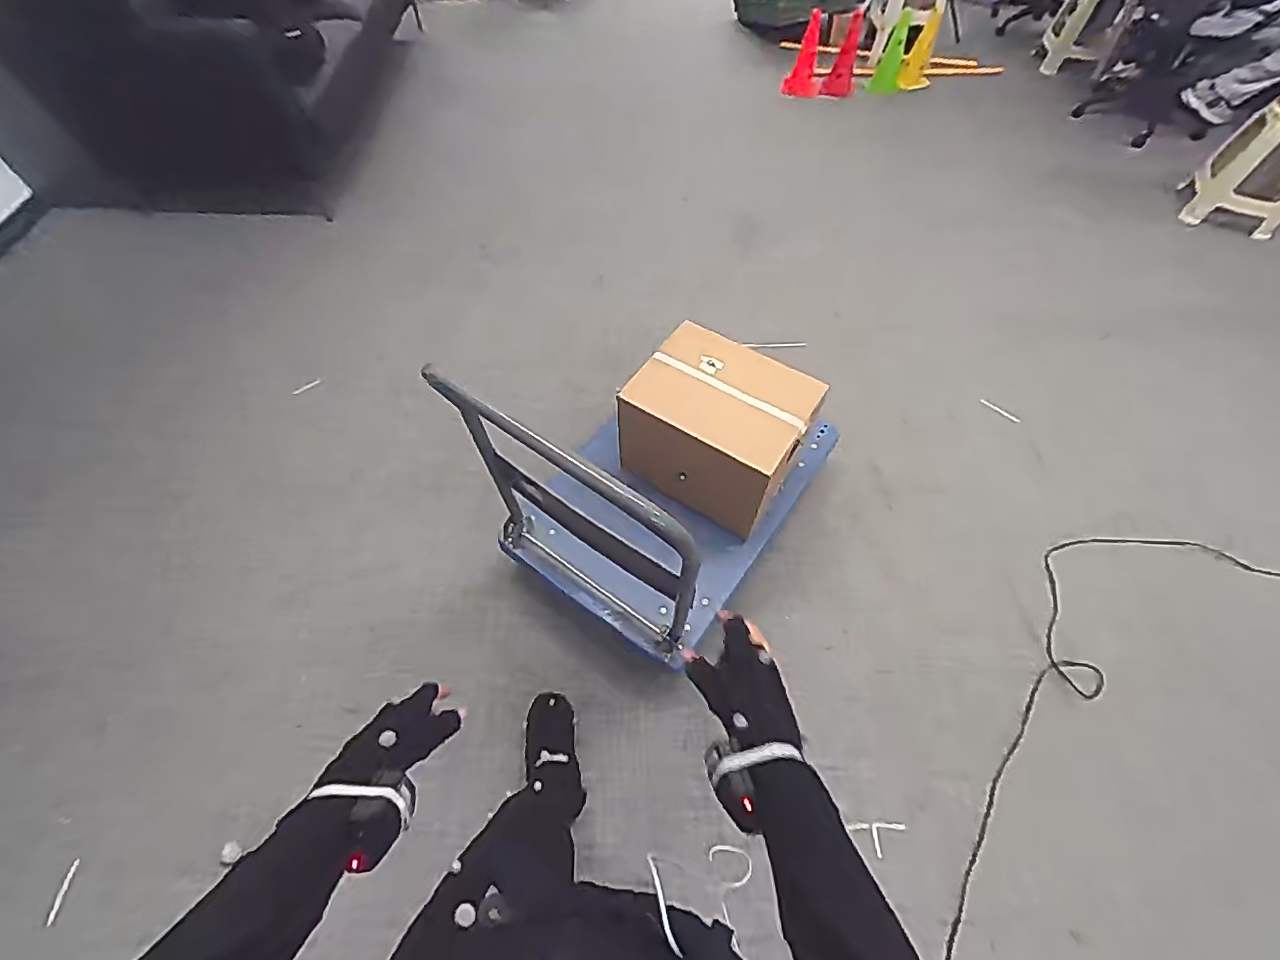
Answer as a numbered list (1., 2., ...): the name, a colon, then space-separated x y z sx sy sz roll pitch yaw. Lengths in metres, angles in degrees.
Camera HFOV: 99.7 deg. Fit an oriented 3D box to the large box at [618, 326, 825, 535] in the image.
1. large box: 0.198 -0.125 1.405 0.408 0.320 0.320 30 61 18
